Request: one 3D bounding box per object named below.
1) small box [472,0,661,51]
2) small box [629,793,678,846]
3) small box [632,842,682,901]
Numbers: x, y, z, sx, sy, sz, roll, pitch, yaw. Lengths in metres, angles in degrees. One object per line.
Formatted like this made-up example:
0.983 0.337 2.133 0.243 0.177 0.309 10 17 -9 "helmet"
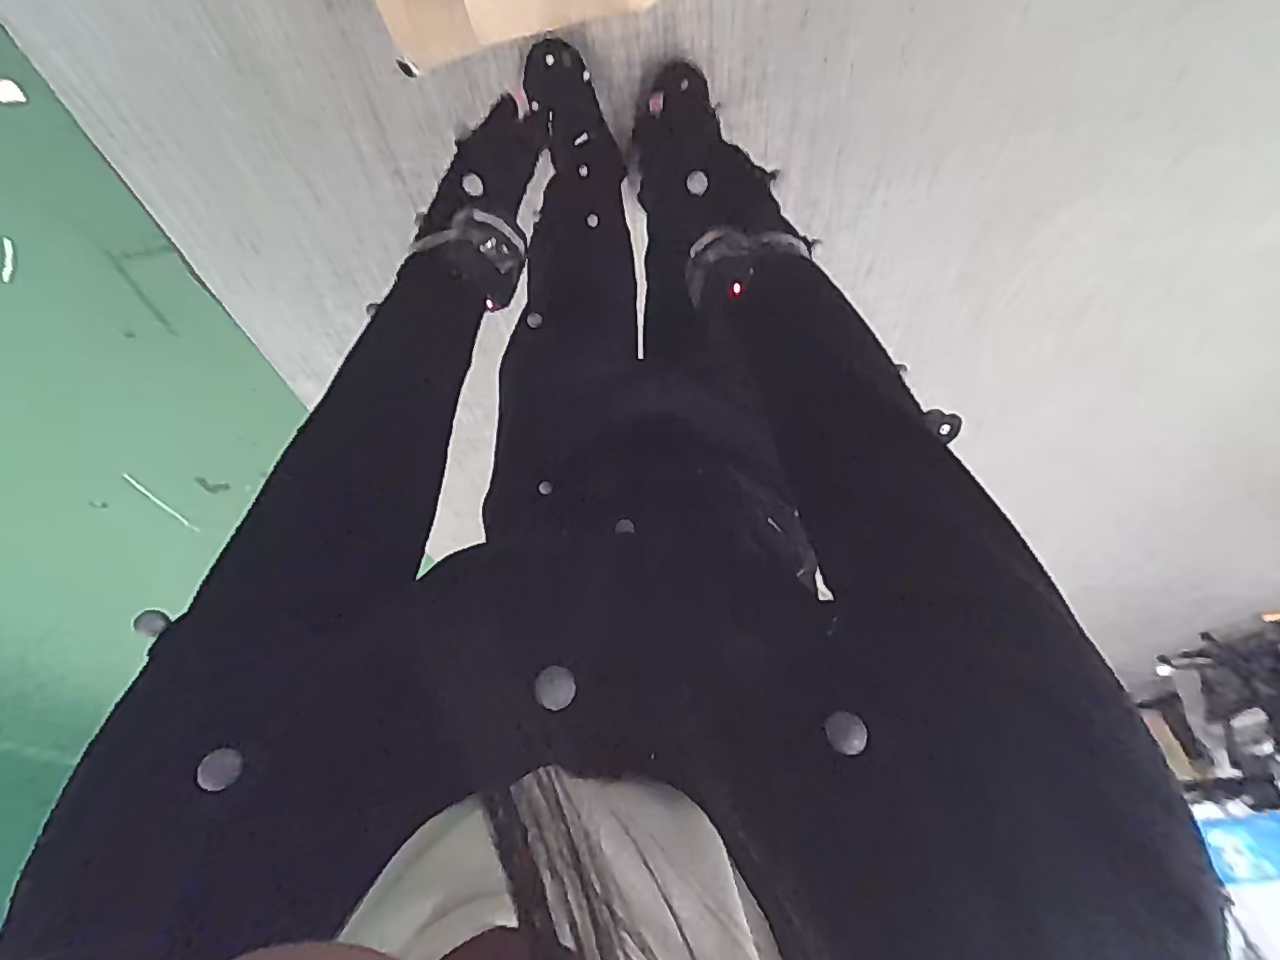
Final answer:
-0.083 -0.544 0.508 0.179 0.176 0.168 -8 142 6 "small box"
0.055 1.388 2.200 0.179 0.176 0.168 -8 140 6 "small box"
0.065 1.517 2.101 0.168 0.176 0.179 -10 139 6 "small box"
